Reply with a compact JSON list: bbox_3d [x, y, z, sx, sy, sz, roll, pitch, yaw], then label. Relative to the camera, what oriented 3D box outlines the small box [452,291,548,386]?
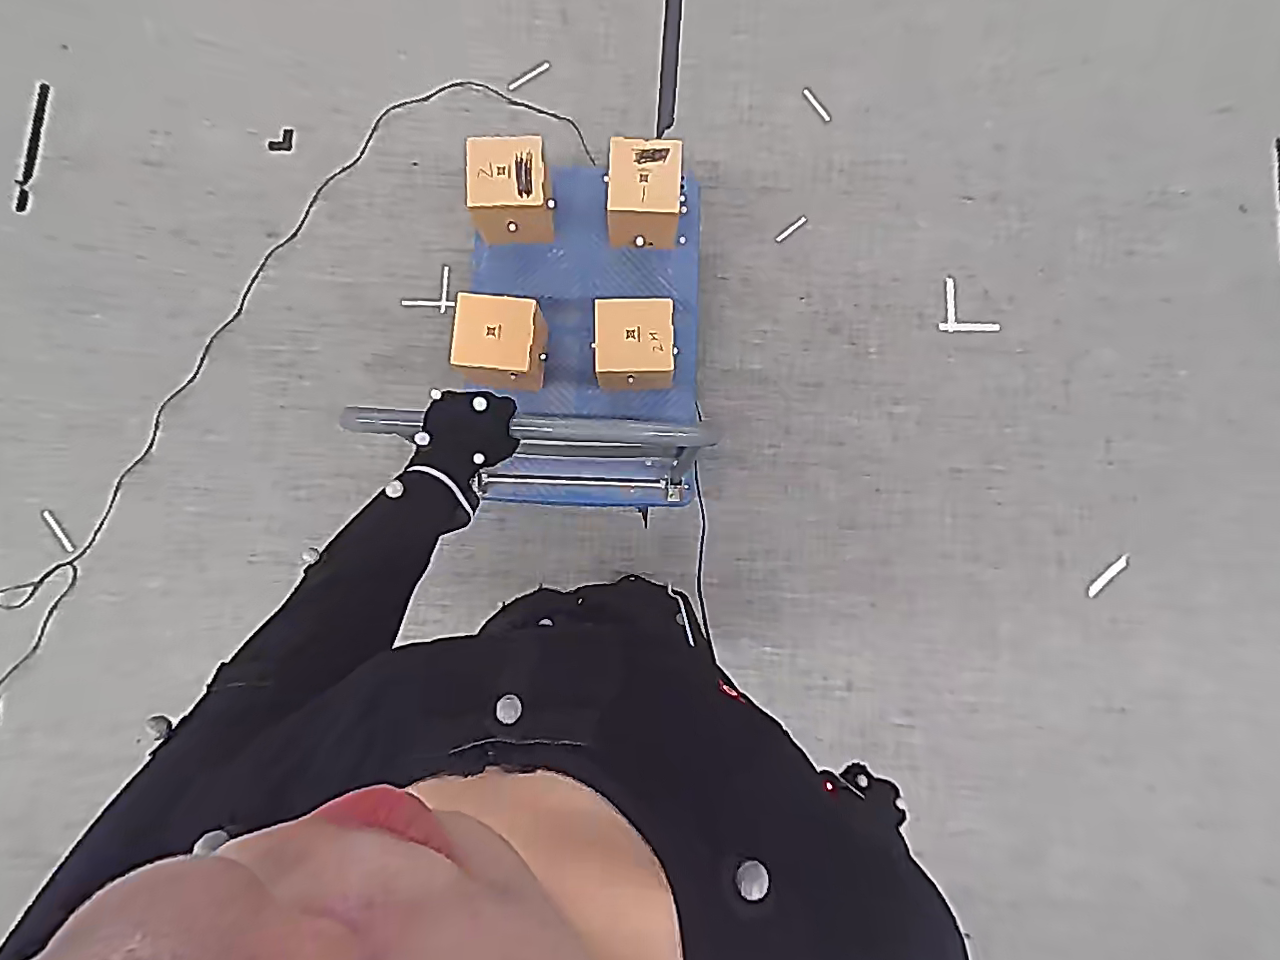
[{"bbox_3d":[-0.320,-0.324,1.269,0.179,0.176,0.168,5,85,-2],"label":"small box"}]

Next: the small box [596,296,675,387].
[{"bbox_3d":[-0.010,-0.318,1.271,0.179,0.176,0.168,-1,86,0],"label":"small box"}]

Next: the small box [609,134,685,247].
[{"bbox_3d":[0.014,-0.689,1.300,0.168,0.176,0.179,3,87,0],"label":"small box"}]
